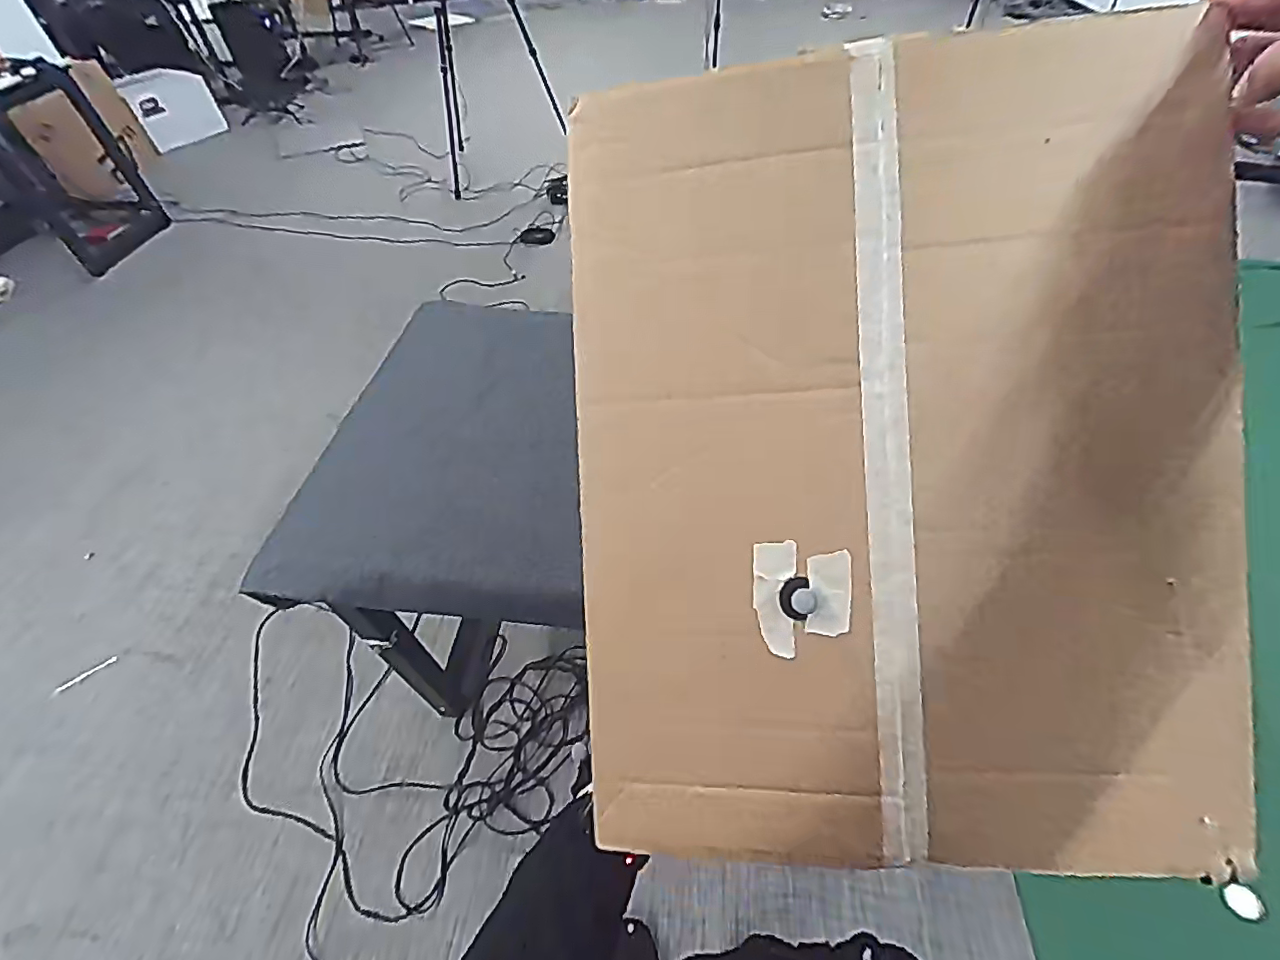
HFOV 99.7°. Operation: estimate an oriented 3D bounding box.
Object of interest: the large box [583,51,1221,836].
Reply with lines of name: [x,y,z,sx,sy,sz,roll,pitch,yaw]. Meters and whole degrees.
large box: [0.149,-0.014,0.437,0.320,0.320,0.408,-3,92,8]
